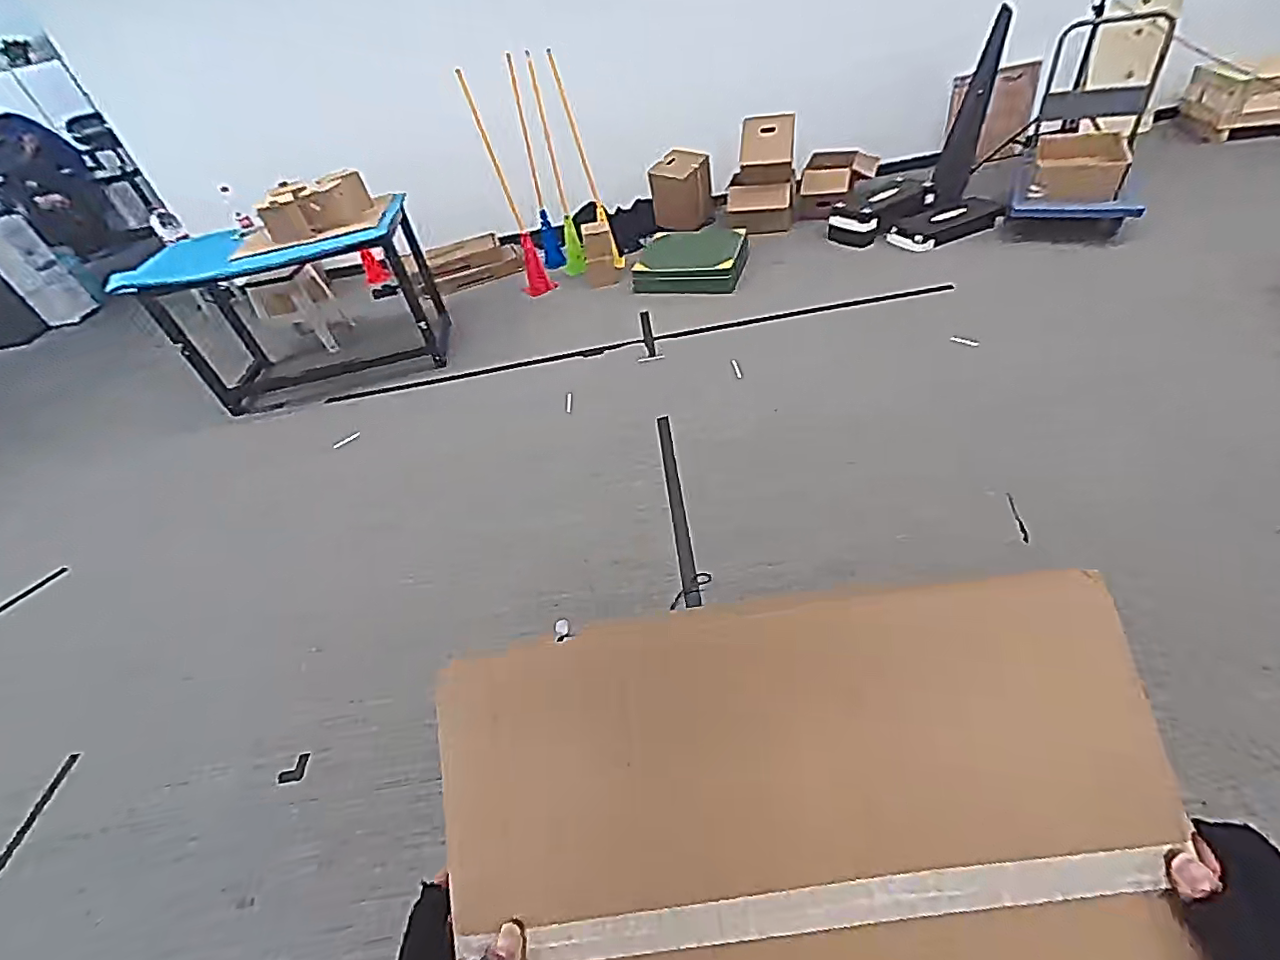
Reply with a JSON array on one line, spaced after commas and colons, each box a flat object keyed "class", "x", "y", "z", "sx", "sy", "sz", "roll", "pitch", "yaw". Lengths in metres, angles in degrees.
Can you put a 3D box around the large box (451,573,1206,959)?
[{"class": "large box", "x": 0.108, "y": 0.271, "z": 0.453, "sx": 0.408, "sy": 0.320, "sz": 0.320, "roll": -10, "pitch": 79, "yaw": 3}]
